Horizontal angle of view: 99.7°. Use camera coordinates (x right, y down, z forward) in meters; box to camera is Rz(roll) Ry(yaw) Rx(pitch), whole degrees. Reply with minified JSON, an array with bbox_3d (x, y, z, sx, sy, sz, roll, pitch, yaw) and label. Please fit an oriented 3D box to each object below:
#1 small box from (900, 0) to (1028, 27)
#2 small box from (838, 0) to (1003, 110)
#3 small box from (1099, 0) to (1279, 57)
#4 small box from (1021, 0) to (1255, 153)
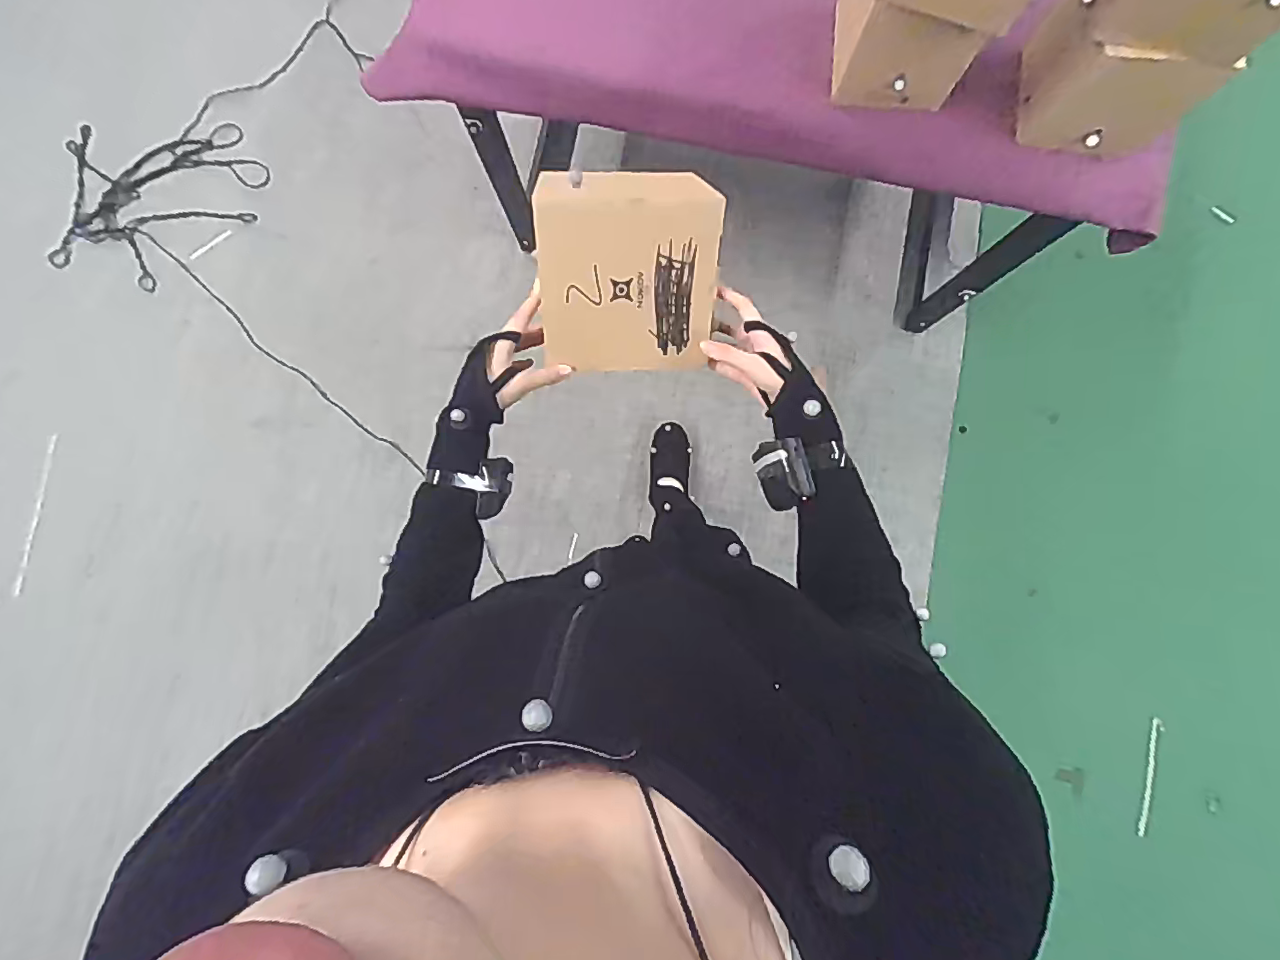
[{"bbox_3d":[0.397,-0.655,0.592,0.179,0.176,0.168,20,85,3],"label":"small box"},{"bbox_3d":[0.389,-0.668,0.758,0.168,0.176,0.179,5,85,2],"label":"small box"},{"bbox_3d":[0.662,-0.609,0.584,0.179,0.176,0.168,13,86,3],"label":"small box"},{"bbox_3d":[0.675,-0.587,0.746,0.179,0.176,0.168,8,86,2],"label":"small box"}]
